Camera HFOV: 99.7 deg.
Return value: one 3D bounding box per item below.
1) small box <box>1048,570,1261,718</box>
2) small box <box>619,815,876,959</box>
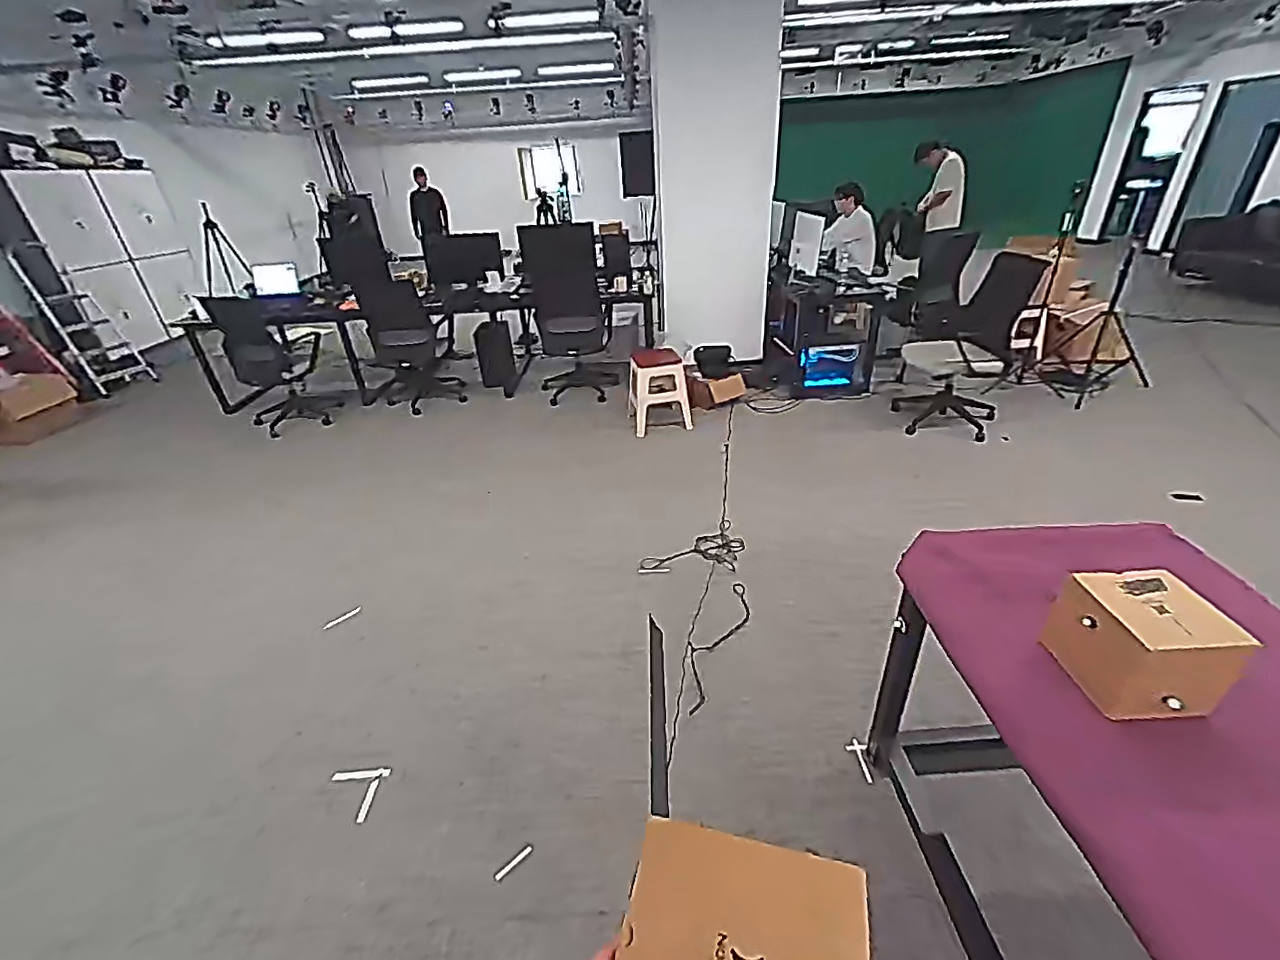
[{"bbox_3d":[0.844,0.274,0.915,0.168,0.176,0.179,-4,31,1],"label":"small box"},{"bbox_3d":[0.080,0.401,0.424,0.179,0.176,0.168,4,40,15],"label":"small box"}]
